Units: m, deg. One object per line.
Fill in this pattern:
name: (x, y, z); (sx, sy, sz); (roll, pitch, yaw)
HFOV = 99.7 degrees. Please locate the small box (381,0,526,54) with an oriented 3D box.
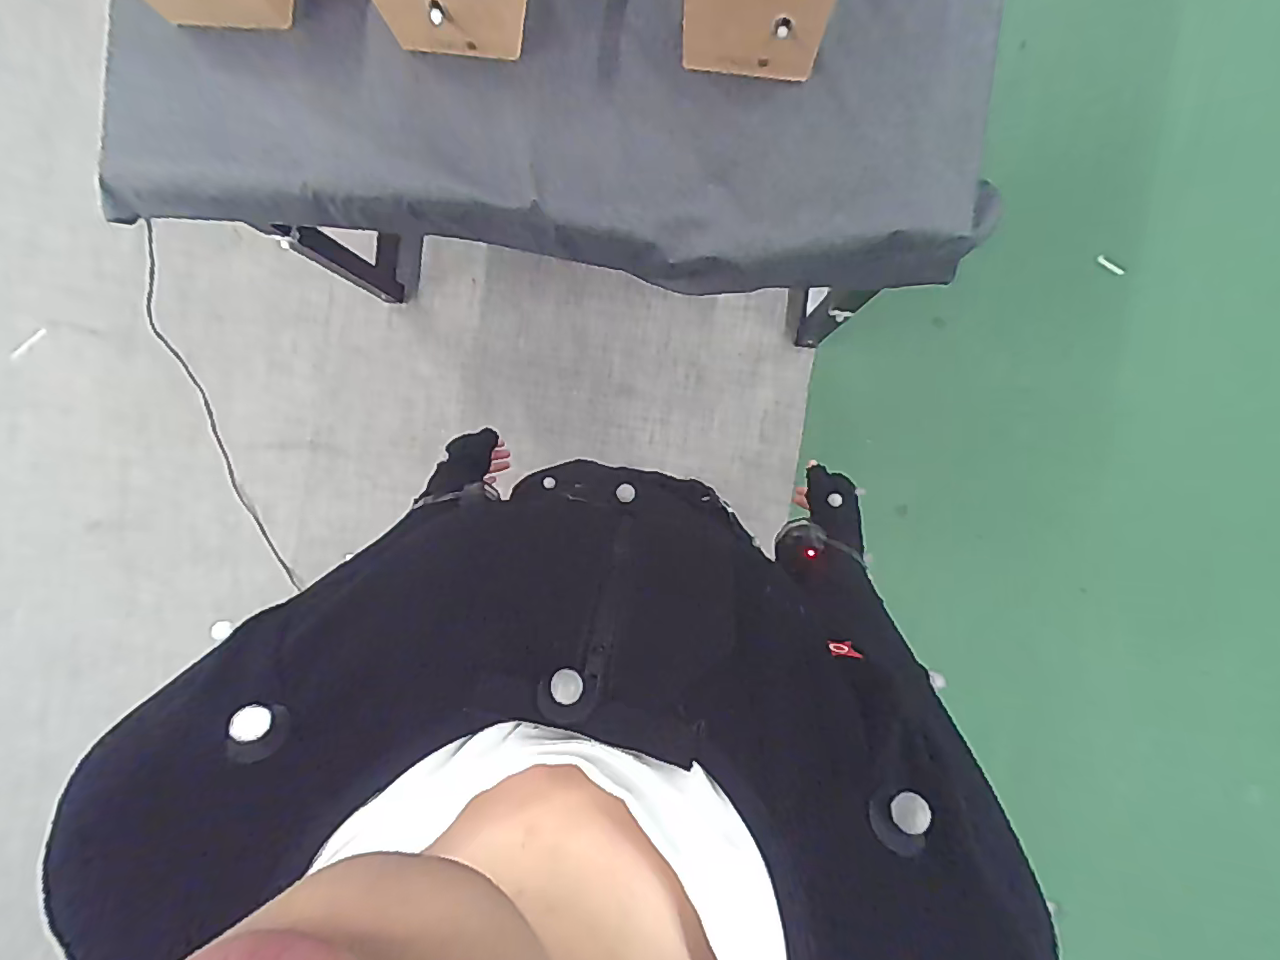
small box: (-0.234, -0.664, 0.652); (0.168, 0.176, 0.179); (8, 93, 3)

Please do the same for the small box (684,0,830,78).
small box: (0.145, -0.617, 0.631); (0.168, 0.176, 0.179); (9, 91, 2)

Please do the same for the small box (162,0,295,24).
small box: (-0.562, -0.714, 0.669); (0.179, 0.176, 0.168); (5, 92, 2)
